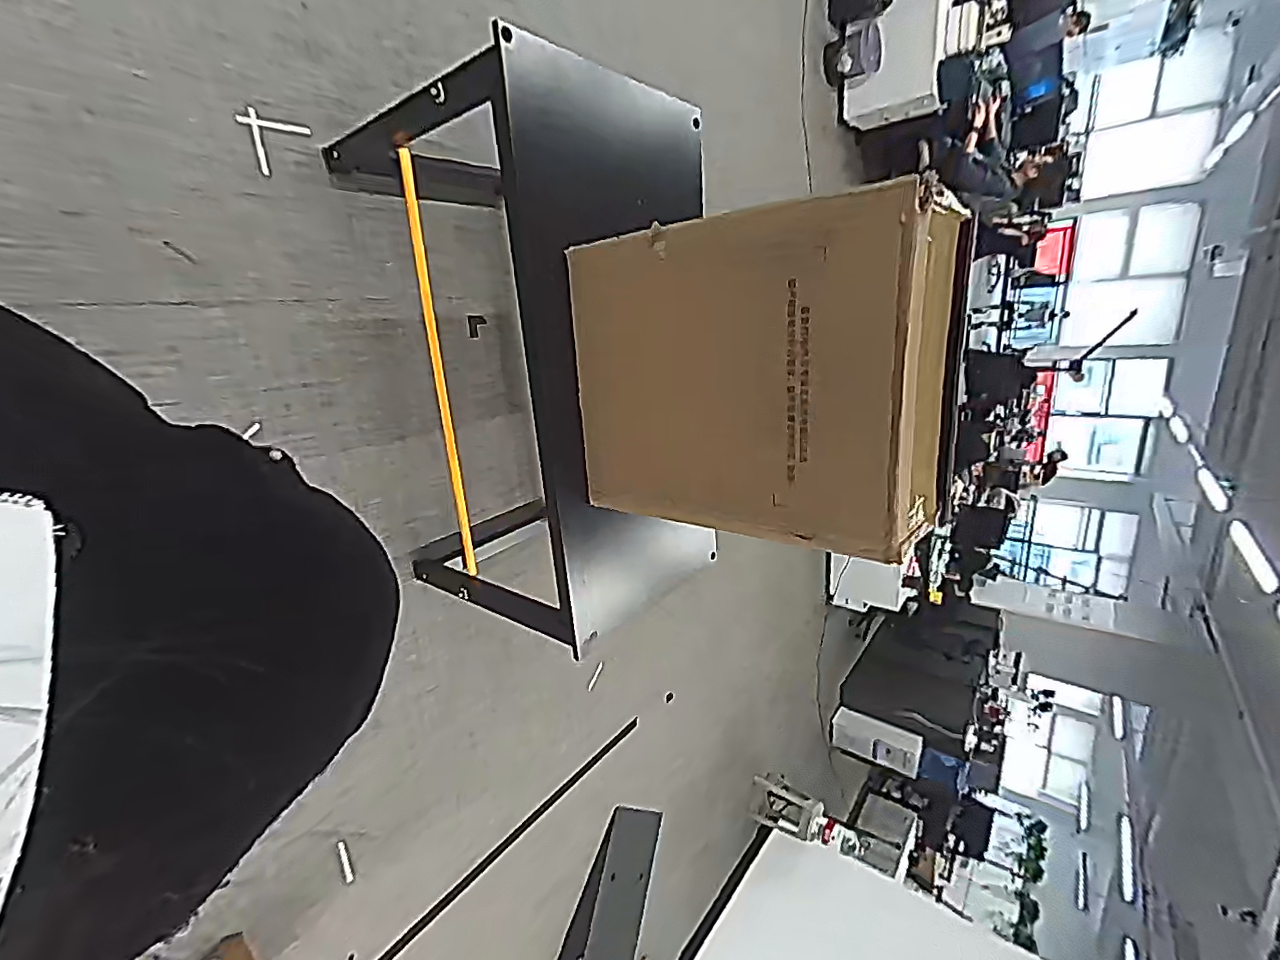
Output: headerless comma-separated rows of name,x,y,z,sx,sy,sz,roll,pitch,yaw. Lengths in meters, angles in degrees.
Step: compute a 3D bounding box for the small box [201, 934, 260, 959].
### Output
small box,-1.021,1.286,1.333,0.168,0.176,0.179,-32,120,-45
